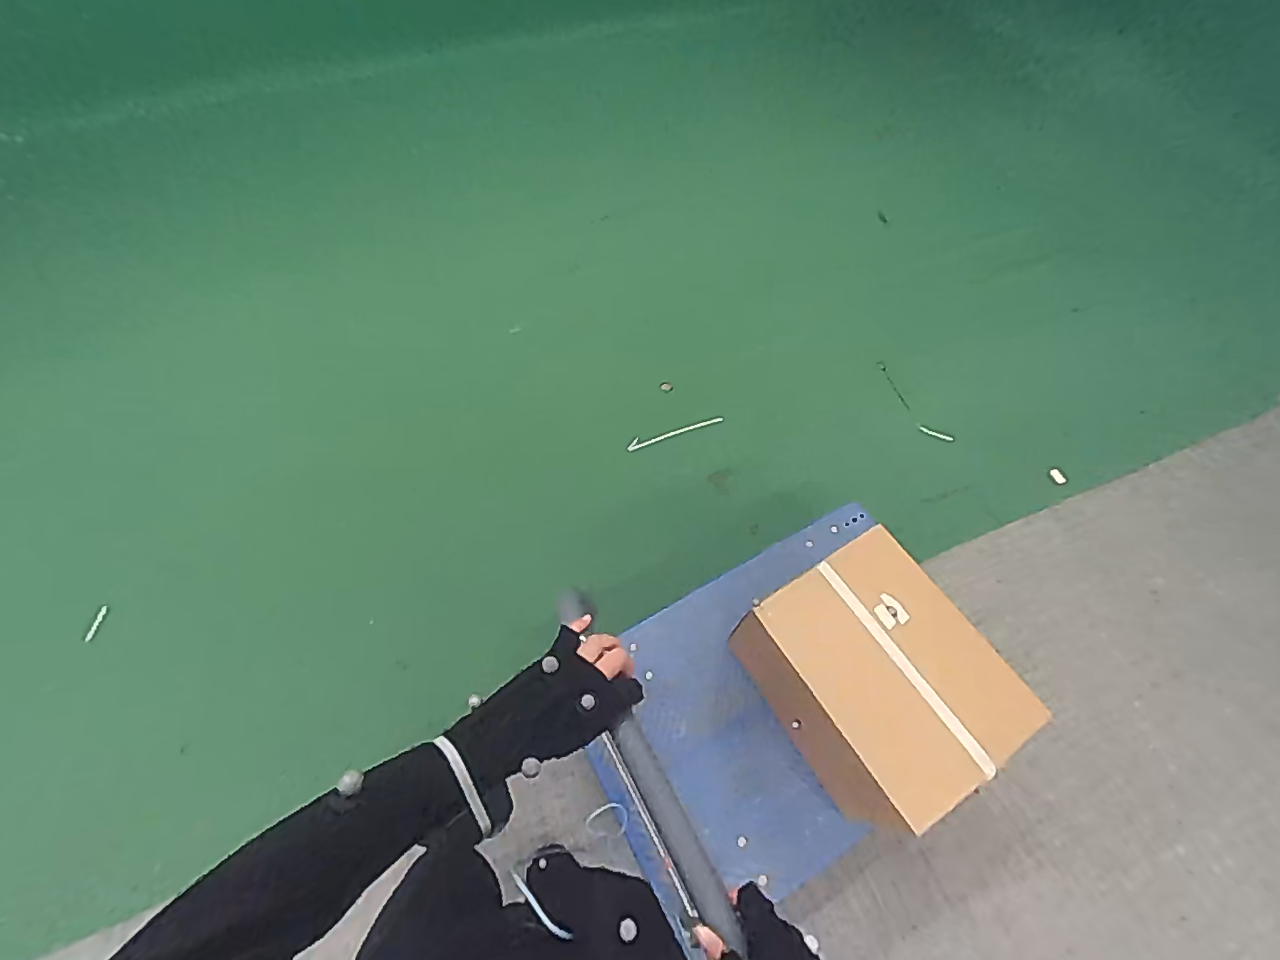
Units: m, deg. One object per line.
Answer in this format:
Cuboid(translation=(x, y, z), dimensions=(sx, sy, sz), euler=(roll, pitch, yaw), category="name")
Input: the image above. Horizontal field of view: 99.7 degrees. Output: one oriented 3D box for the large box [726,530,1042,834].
Cuboid(translation=(0.420, 0.381, 1.044), dimensions=(0.320, 0.320, 0.408), euler=(-28, 64, -15), category="large box")
